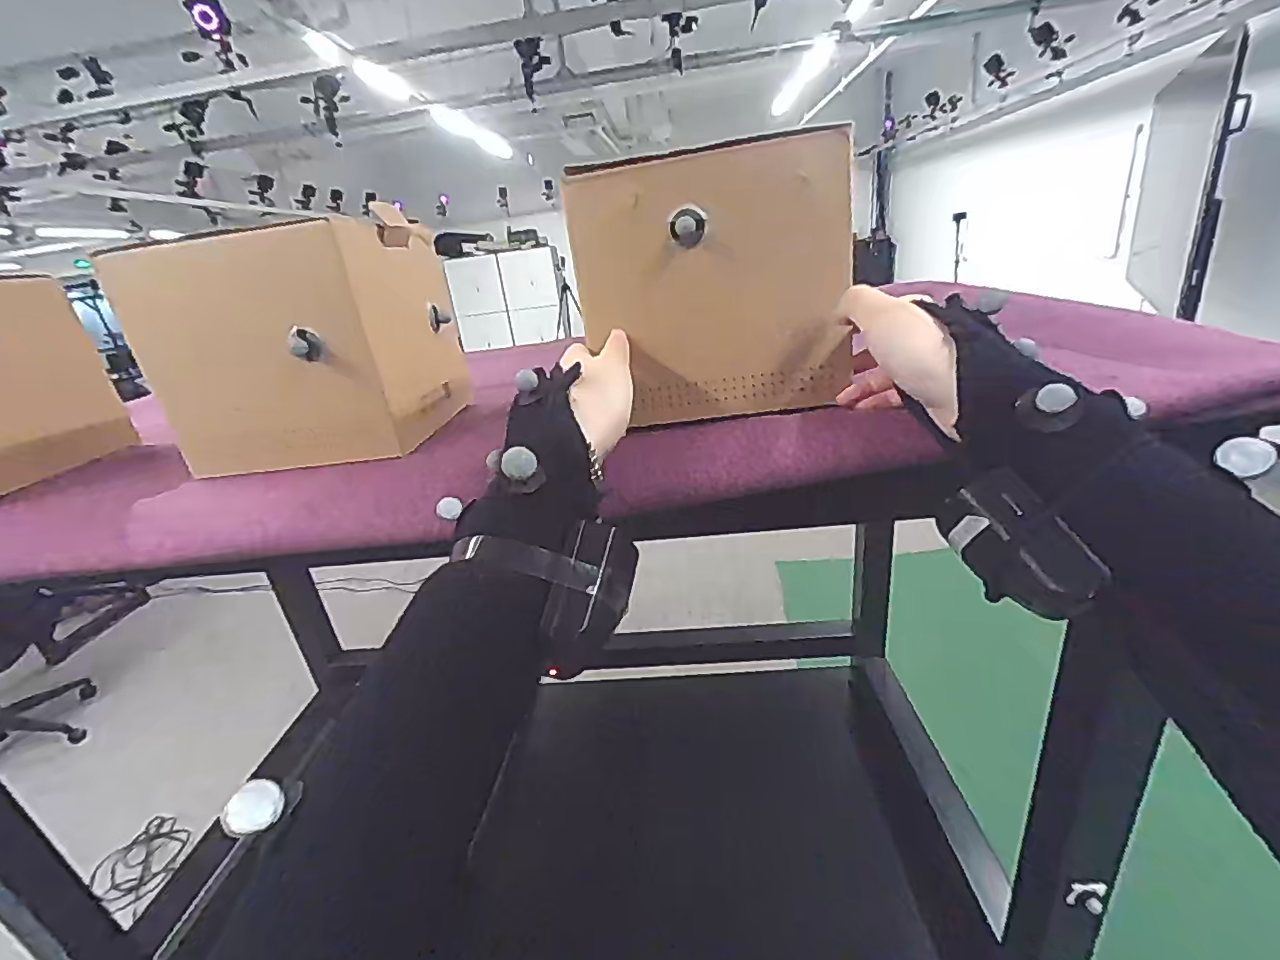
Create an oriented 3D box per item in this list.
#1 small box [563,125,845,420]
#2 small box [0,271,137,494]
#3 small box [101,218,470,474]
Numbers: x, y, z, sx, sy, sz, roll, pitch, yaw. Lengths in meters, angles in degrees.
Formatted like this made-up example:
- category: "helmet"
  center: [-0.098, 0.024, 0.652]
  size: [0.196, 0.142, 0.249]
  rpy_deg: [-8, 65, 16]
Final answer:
- category: "small box"
  center: [0.055, -0.149, 0.428]
  size: [0.179, 0.176, 0.168]
  rpy_deg: [-5, 20, 8]
- category: "small box"
  center: [-0.606, -0.076, 0.463]
  size: [0.168, 0.176, 0.179]
  rpy_deg: [-5, 23, 3]
- category: "small box"
  center: [-0.266, -0.115, 0.460]
  size: [0.179, 0.176, 0.168]
  rpy_deg: [-7, 22, 5]
